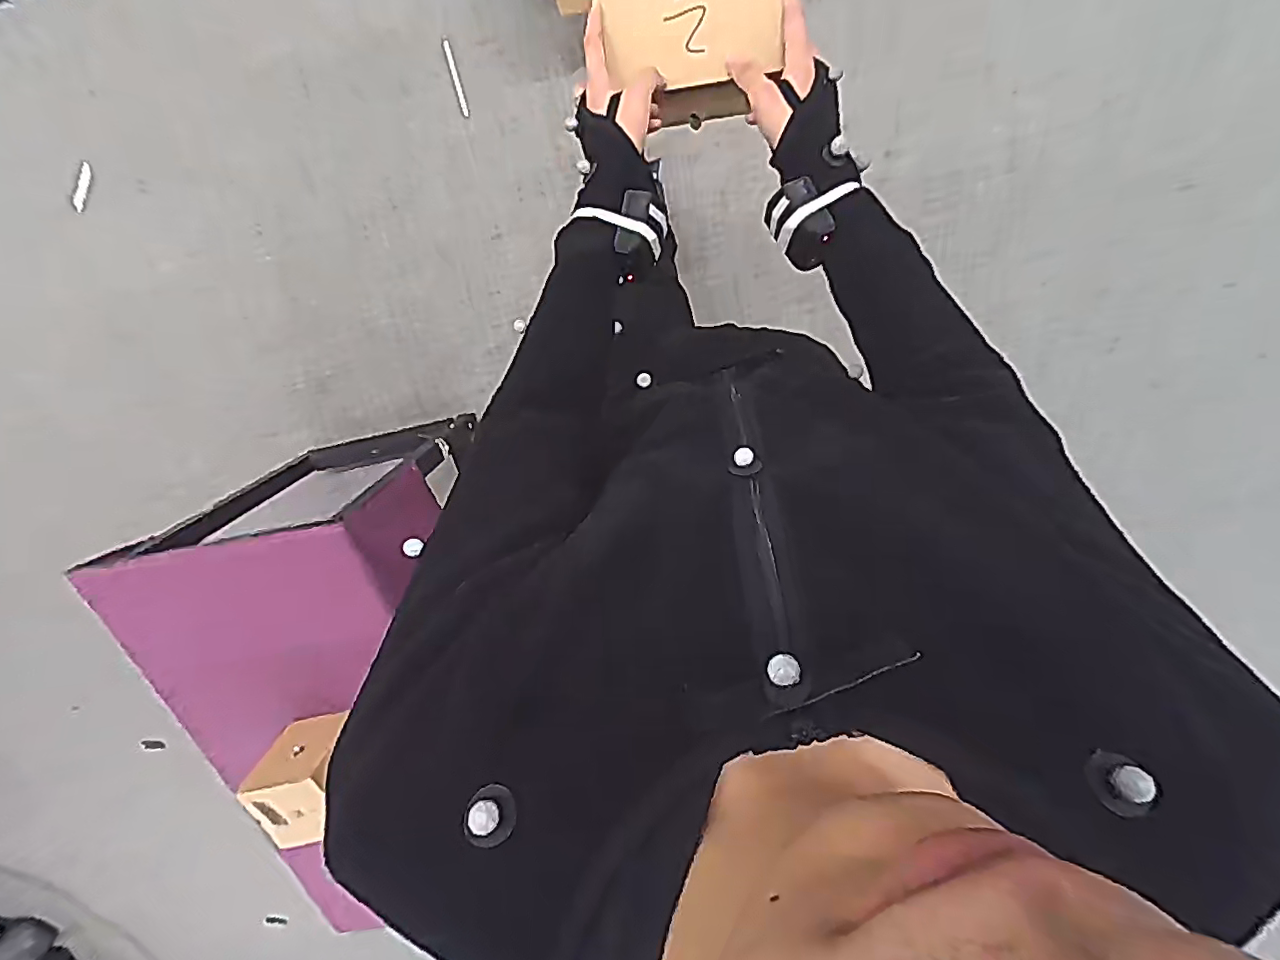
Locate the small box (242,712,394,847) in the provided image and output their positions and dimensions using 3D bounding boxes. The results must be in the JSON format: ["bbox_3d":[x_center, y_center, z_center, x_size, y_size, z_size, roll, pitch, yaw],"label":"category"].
[{"bbox_3d":[-0.655,0.617,1.124,0.179,0.176,0.168,-16,112,9],"label":"small box"}]
